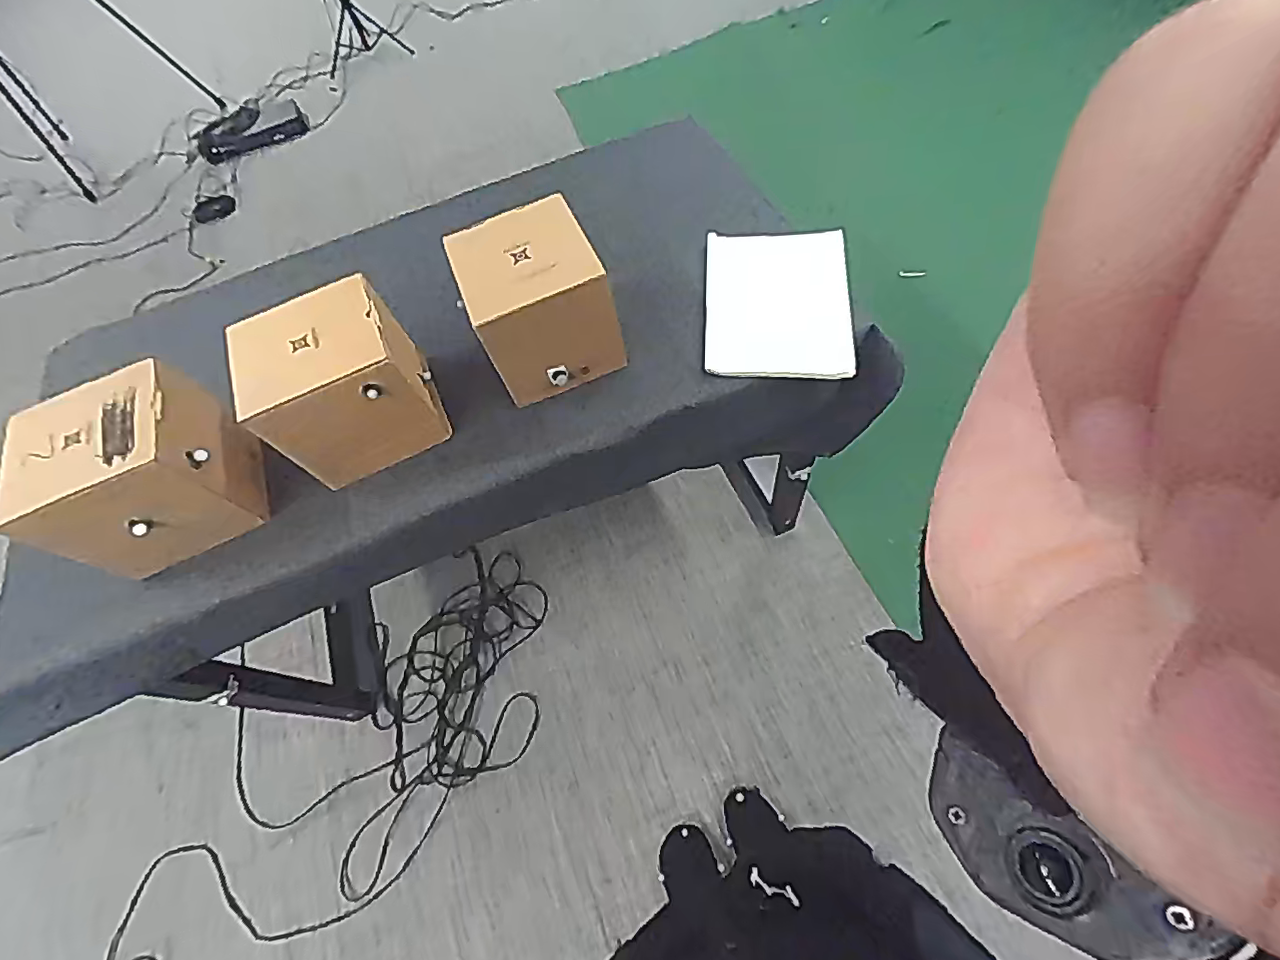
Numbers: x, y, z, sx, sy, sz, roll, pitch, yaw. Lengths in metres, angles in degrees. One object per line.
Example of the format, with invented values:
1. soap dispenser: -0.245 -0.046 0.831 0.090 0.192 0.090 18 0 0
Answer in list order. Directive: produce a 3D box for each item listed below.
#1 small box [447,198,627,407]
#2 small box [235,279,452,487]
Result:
1. small box: -0.132 -0.232 0.729 0.168 0.176 0.179 -24 62 -4
2. small box: -0.376 -0.118 0.703 0.179 0.176 0.168 -26 61 -7
